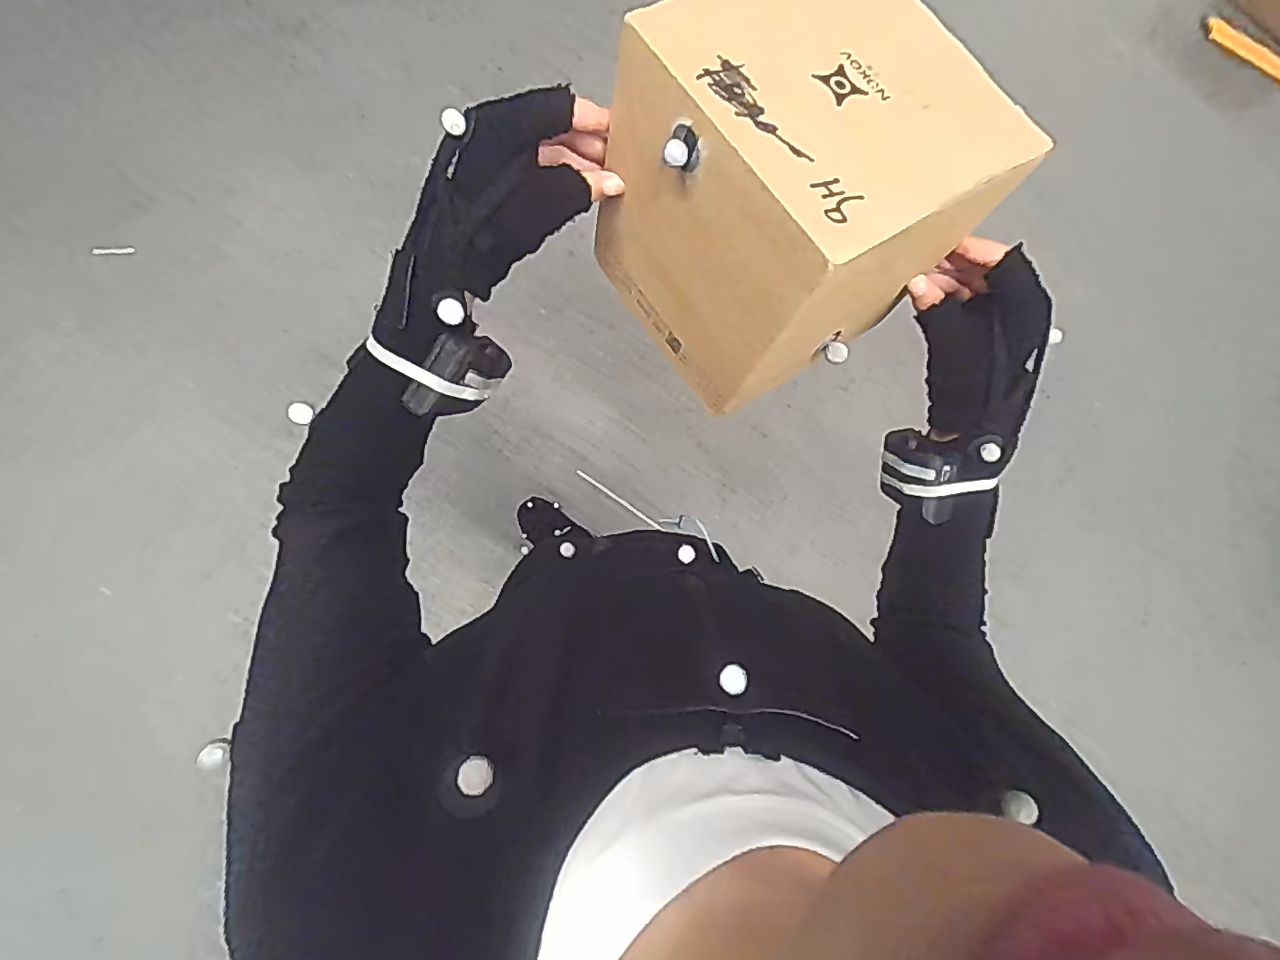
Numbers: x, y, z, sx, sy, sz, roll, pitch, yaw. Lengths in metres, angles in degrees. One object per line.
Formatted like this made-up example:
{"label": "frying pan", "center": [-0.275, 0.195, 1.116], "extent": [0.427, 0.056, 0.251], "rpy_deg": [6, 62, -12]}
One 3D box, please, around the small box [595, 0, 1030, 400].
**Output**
{"label": "small box", "center": [0.087, -0.184, 0.356], "extent": [0.179, 0.176, 0.168], "rpy_deg": [-32, 79, -19]}
